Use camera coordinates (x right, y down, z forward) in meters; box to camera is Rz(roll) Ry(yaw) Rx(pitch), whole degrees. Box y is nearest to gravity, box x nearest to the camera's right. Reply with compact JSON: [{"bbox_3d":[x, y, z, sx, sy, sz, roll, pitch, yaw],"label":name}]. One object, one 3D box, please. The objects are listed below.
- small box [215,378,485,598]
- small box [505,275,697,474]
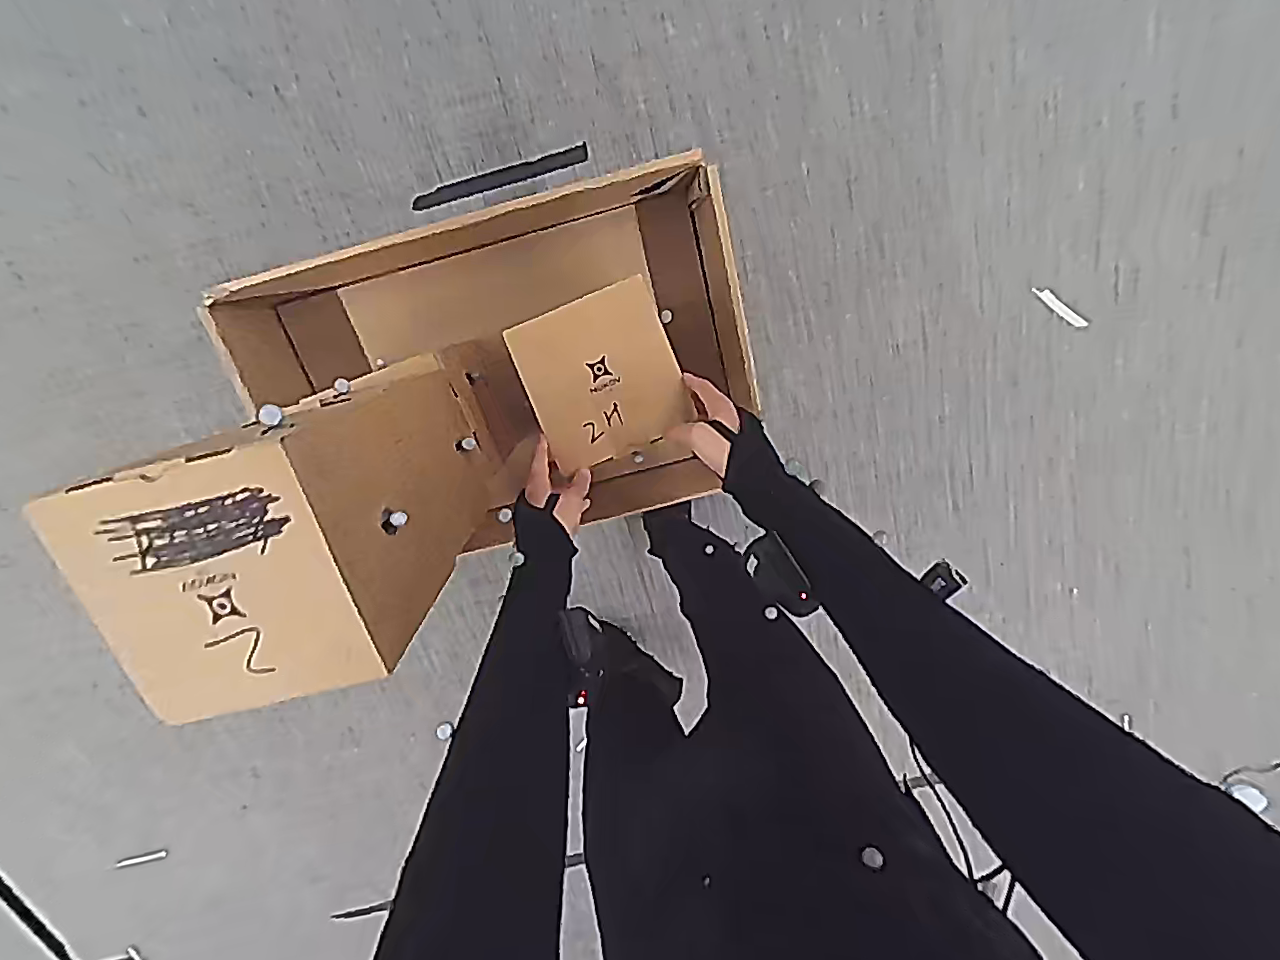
[{"bbox_3d":[-0.283,-0.005,0.576,0.168,0.176,0.179,-14,107,2],"label":"small box"},{"bbox_3d":[-0.041,-0.118,0.669,0.168,0.176,0.179,-23,93,3],"label":"small box"}]
